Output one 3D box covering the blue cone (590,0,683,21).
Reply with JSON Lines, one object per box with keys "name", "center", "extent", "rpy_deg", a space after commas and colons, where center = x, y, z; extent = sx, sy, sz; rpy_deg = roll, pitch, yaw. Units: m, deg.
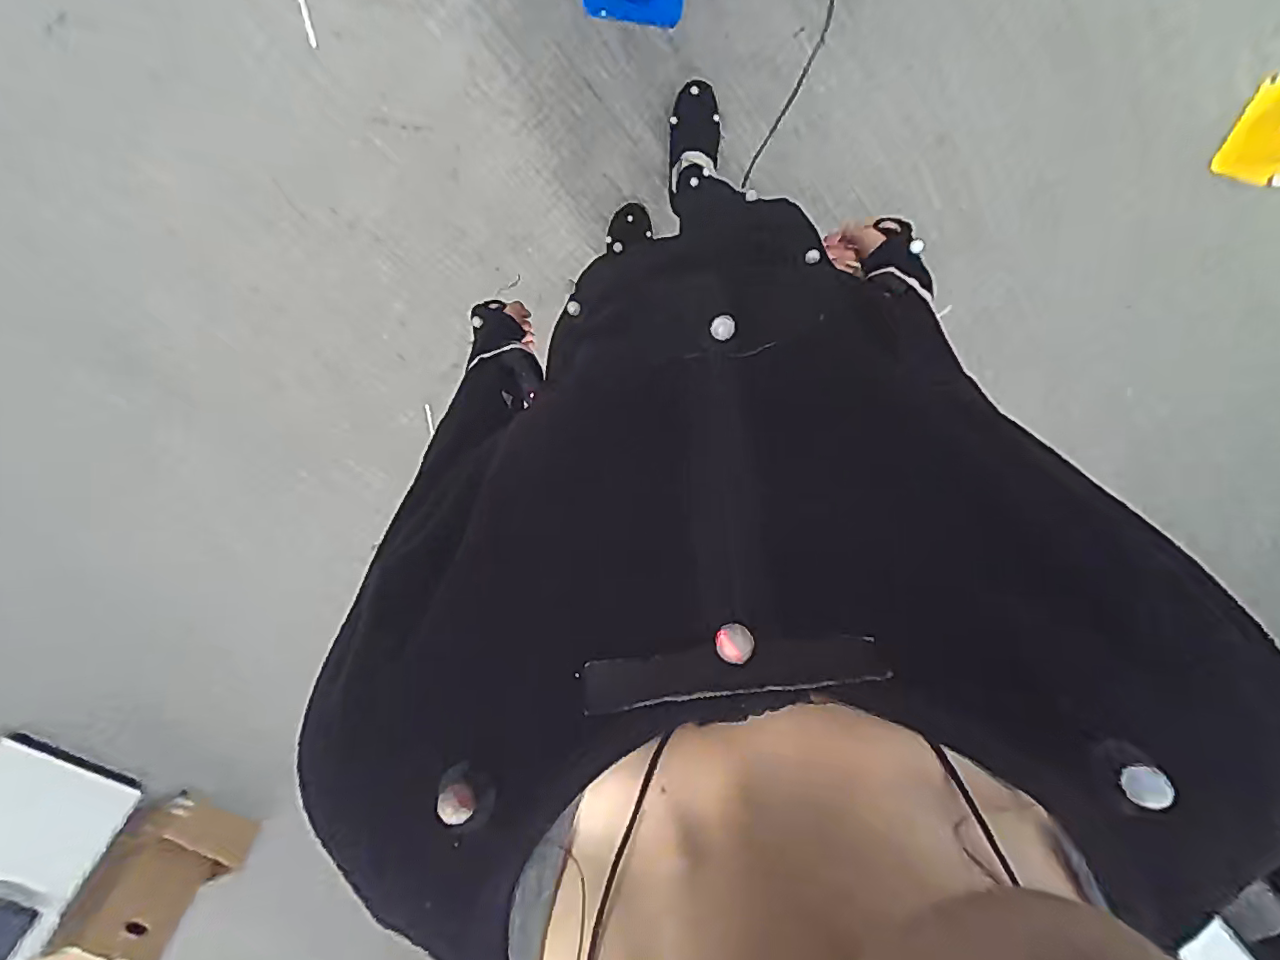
{"name": "blue cone", "center": [0.002, -0.888, 0.865], "extent": [0.193, 0.380, 0.192], "rpy_deg": [2, 123, -4]}
